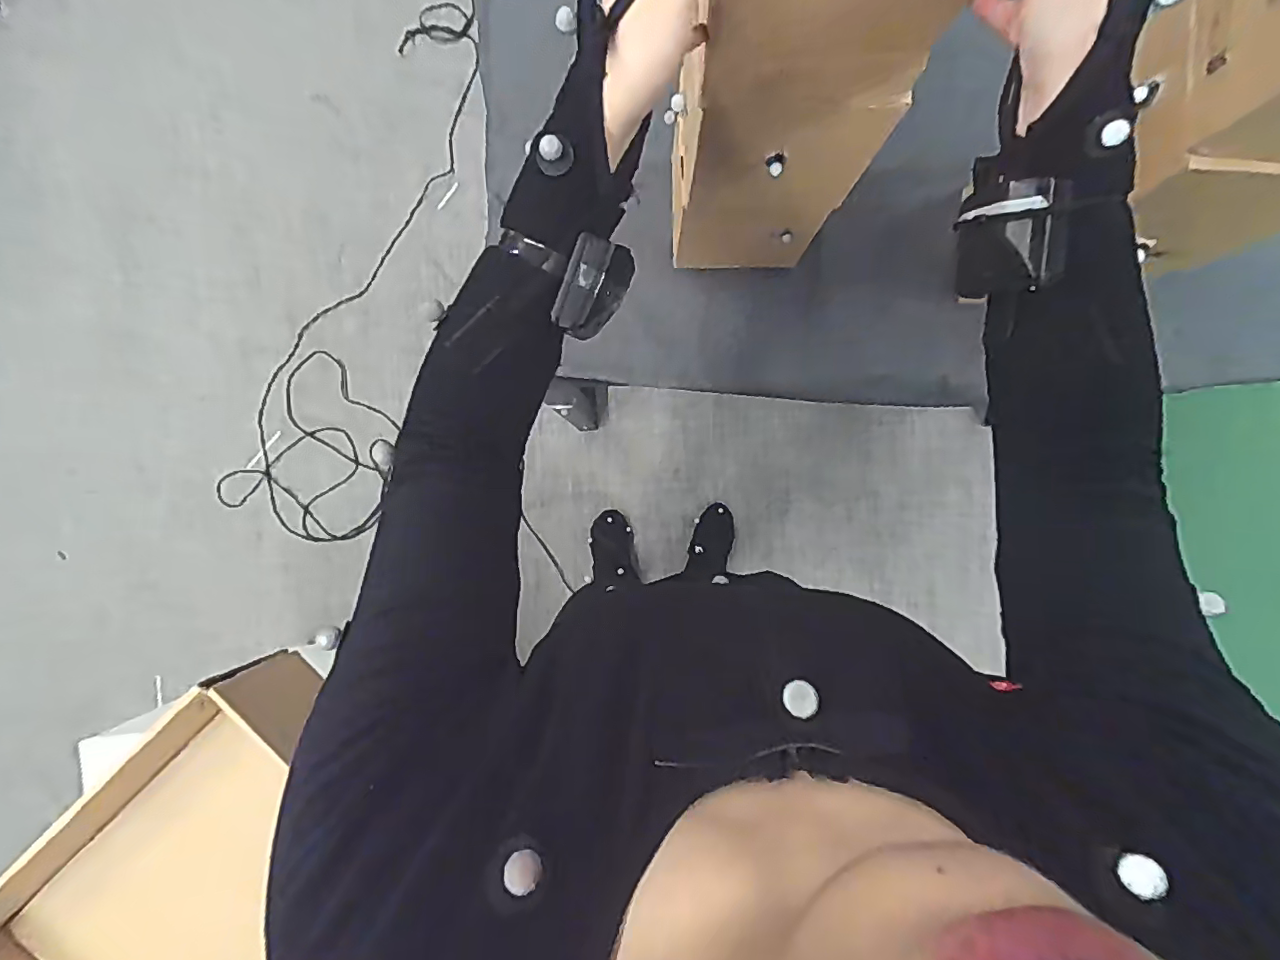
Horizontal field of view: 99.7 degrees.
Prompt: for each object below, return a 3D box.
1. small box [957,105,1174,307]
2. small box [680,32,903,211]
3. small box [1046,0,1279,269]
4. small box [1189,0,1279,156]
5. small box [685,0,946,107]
[{"bbox_3d":[0.535,-0.328,0.679,0.179,0.176,0.168,4,87,2],"label":"small box"},{"bbox_3d":[0.132,-0.384,0.529,0.179,0.176,0.168,-1,89,1],"label":"small box"},{"bbox_3d":[0.529,-0.327,0.516,0.168,0.176,0.179,5,89,3],"label":"small box"},{"bbox_3d":[0.525,-0.336,0.352,0.179,0.176,0.168,7,88,3],"label":"small box"},{"bbox_3d":[0.120,-0.389,0.366,0.179,0.176,0.168,-3,89,0],"label":"small box"}]
